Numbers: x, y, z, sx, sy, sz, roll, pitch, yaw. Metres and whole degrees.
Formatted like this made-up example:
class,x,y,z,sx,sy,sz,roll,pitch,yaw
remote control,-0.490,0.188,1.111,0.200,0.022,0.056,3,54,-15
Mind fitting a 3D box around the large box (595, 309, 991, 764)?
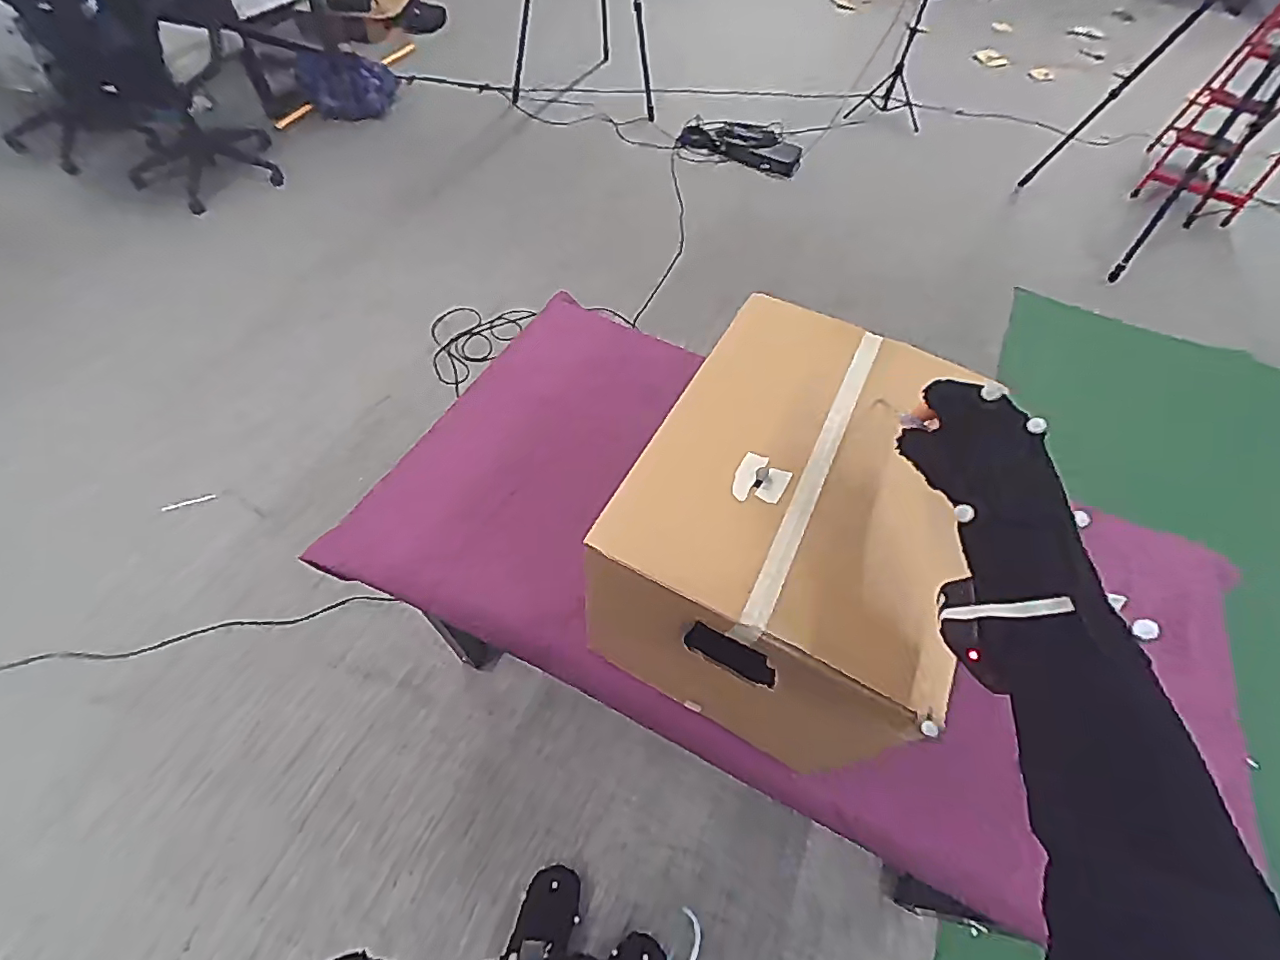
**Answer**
class,x,y,z,sx,sy,sz,roll,pitch,yaw
large box,0.172,0.069,0.679,0.320,0.320,0.408,26,59,13
